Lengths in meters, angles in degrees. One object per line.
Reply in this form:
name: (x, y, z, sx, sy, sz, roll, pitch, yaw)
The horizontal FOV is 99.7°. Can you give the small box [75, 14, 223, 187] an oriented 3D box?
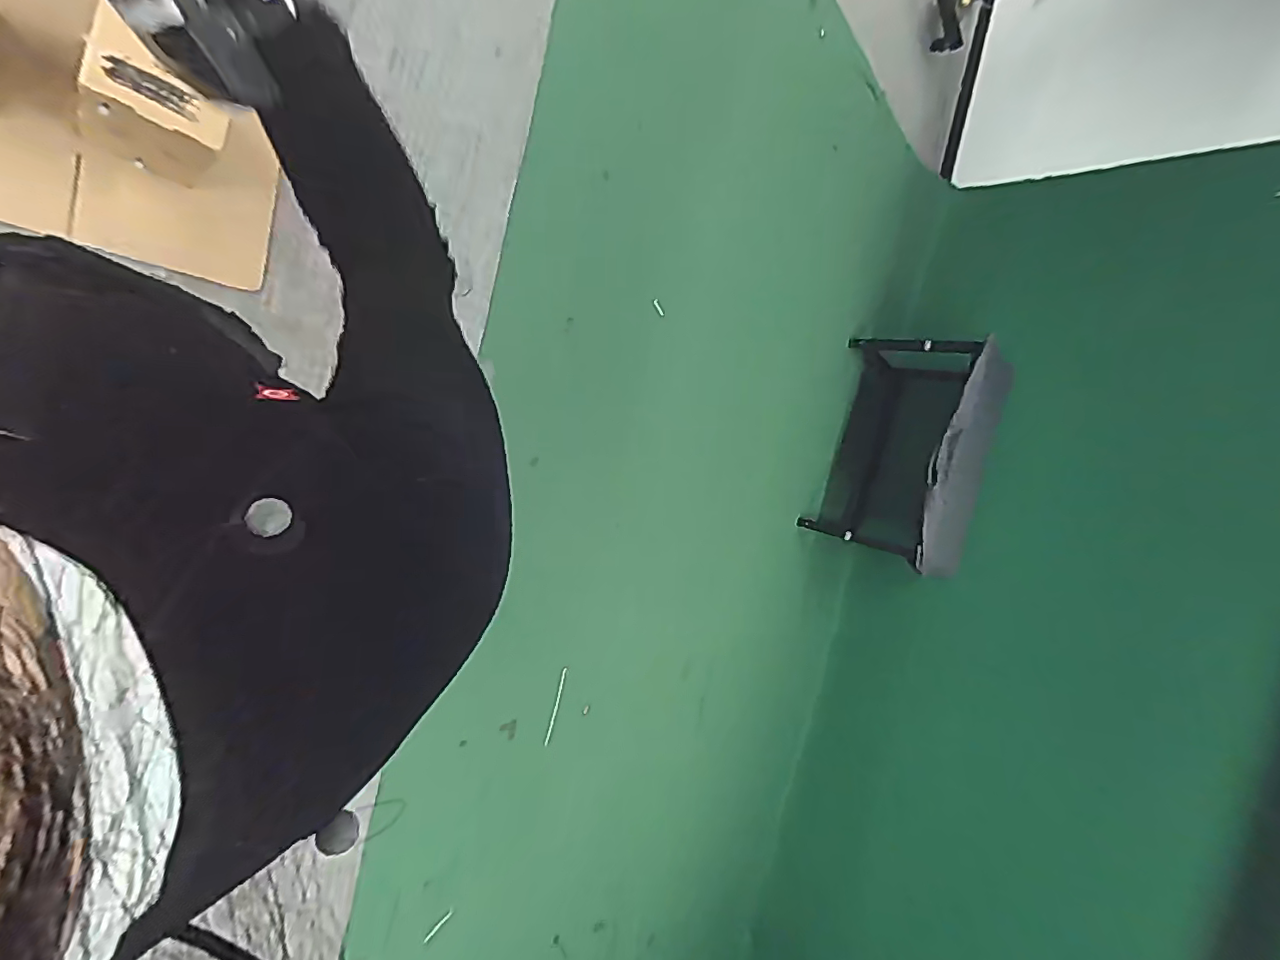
small box: (-0.890, -0.670, 0.980, 0.168, 0.176, 0.179, 14, 91, -46)
